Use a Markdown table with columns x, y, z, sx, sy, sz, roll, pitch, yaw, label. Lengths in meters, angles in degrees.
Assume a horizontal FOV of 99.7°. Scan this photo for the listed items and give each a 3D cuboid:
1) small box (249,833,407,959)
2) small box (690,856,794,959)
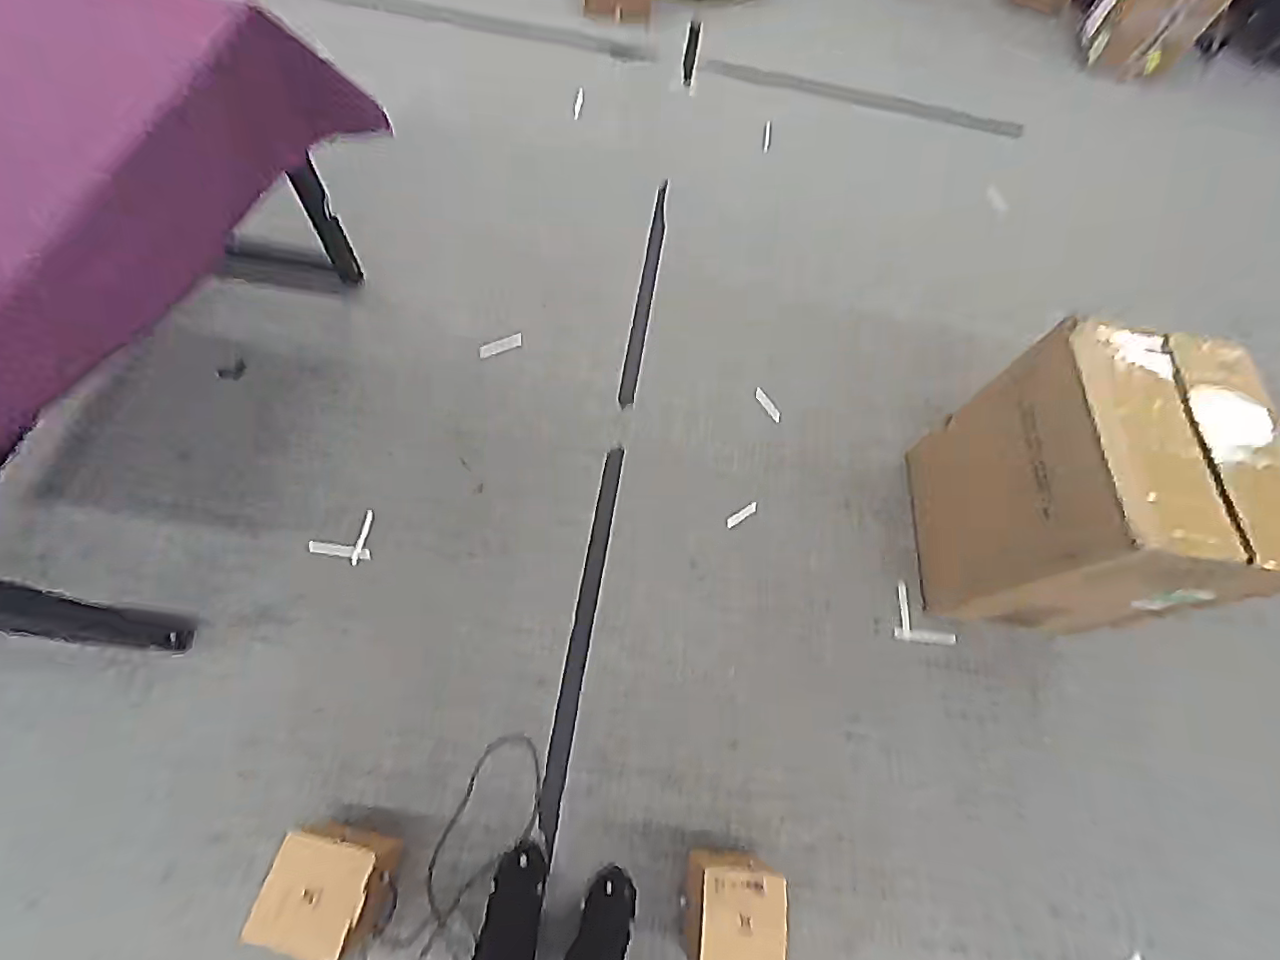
| x | y | z | sx | sy | sz | roll | pitch | yaw | label |
| --- | --- | --- | --- | --- | --- | --- | --- | --- | --- |
| -0.575 | 0.791 | 1.028 | 0.179 | 0.176 | 0.168 | 13 | 61 | 3 | small box |
| 0.198 | 0.879 | 1.078 | 0.168 | 0.176 | 0.179 | 9 | 64 | -3 | small box |
